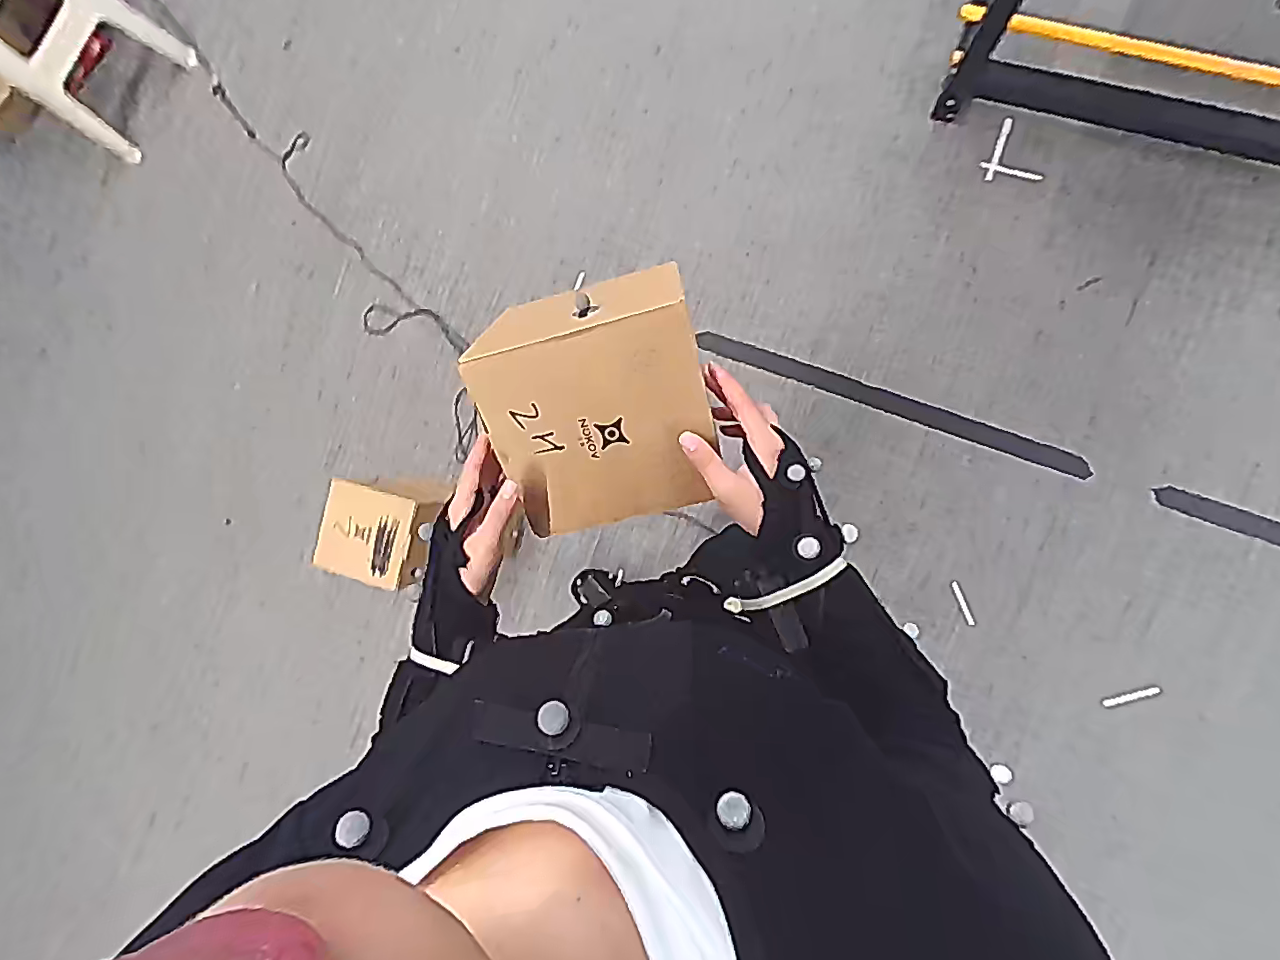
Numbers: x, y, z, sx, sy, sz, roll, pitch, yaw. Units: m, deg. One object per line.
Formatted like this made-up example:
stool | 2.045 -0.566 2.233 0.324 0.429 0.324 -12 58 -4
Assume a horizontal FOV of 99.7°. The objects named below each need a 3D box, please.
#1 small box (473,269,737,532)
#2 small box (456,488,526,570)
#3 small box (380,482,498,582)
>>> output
small box | -0.020 -0.079 0.489 0.179 0.176 0.168 -11 119 8
small box | -0.413 0.117 1.367 0.179 0.176 0.168 14 91 9
small box | -0.438 0.109 1.208 0.168 0.176 0.179 16 92 9
